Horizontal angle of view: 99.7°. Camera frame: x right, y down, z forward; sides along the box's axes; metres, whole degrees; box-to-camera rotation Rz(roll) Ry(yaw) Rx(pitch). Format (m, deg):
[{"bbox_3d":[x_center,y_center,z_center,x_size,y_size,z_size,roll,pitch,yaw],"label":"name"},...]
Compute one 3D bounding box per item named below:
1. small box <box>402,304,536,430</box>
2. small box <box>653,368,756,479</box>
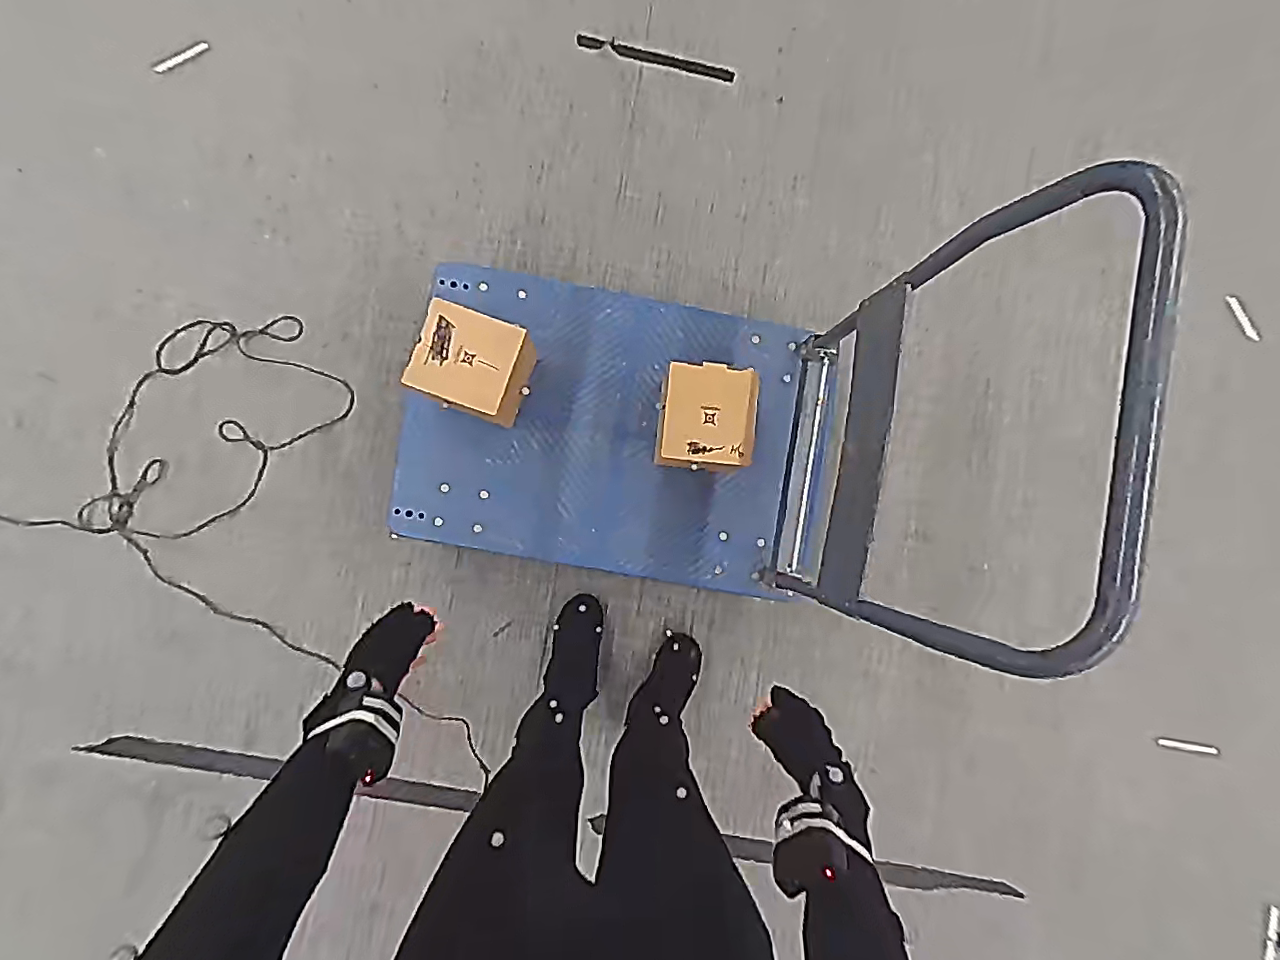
[{"bbox_3d":[-0.315,-0.204,1.032,0.179,0.176,0.168,20,86,-3],"label":"small box"},{"bbox_3d":[0.118,-0.103,1.051,0.168,0.176,0.179,6,86,-2],"label":"small box"}]
